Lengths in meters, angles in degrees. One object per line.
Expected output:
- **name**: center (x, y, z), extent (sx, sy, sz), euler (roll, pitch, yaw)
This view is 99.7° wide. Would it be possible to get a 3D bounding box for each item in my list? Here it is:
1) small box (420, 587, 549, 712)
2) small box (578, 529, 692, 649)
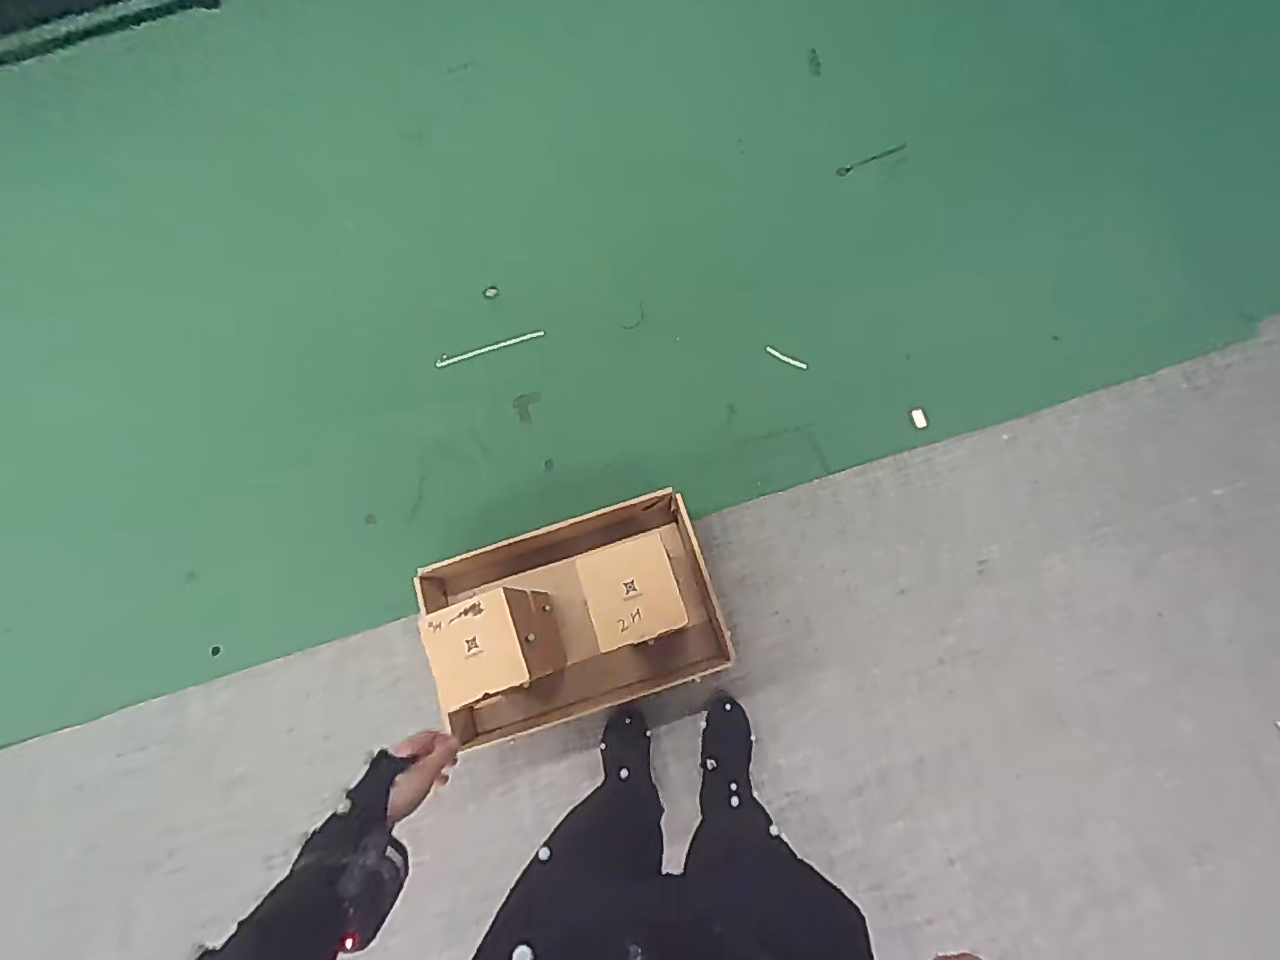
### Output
- **small box**: center (-0.286, 0.313, 1.030), extent (0.168, 0.176, 0.179), euler (-21, 77, -2)
- **small box**: center (-0.007, 0.210, 1.038), extent (0.168, 0.176, 0.179), euler (-18, 77, 0)
